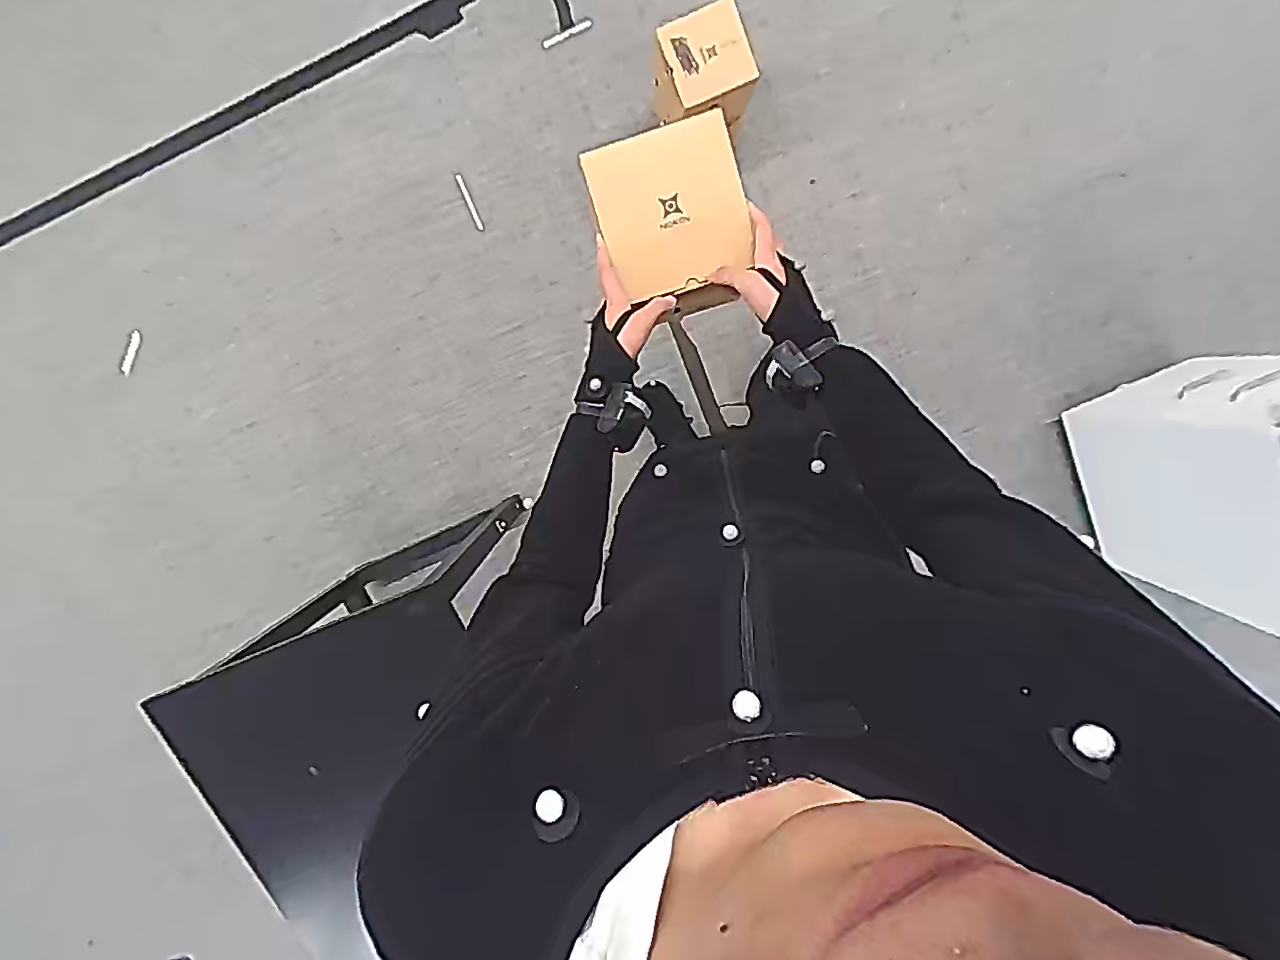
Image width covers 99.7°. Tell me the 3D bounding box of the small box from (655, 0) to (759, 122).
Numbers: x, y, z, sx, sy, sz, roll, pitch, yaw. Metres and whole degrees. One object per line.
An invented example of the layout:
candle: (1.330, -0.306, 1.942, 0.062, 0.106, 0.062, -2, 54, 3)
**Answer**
small box: (0.141, -0.897, 1.201, 0.179, 0.176, 0.168, -23, 100, 3)

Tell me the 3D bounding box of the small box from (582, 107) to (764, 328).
small box: (0.037, -0.306, 0.671, 0.168, 0.176, 0.179, -17, 97, 3)
